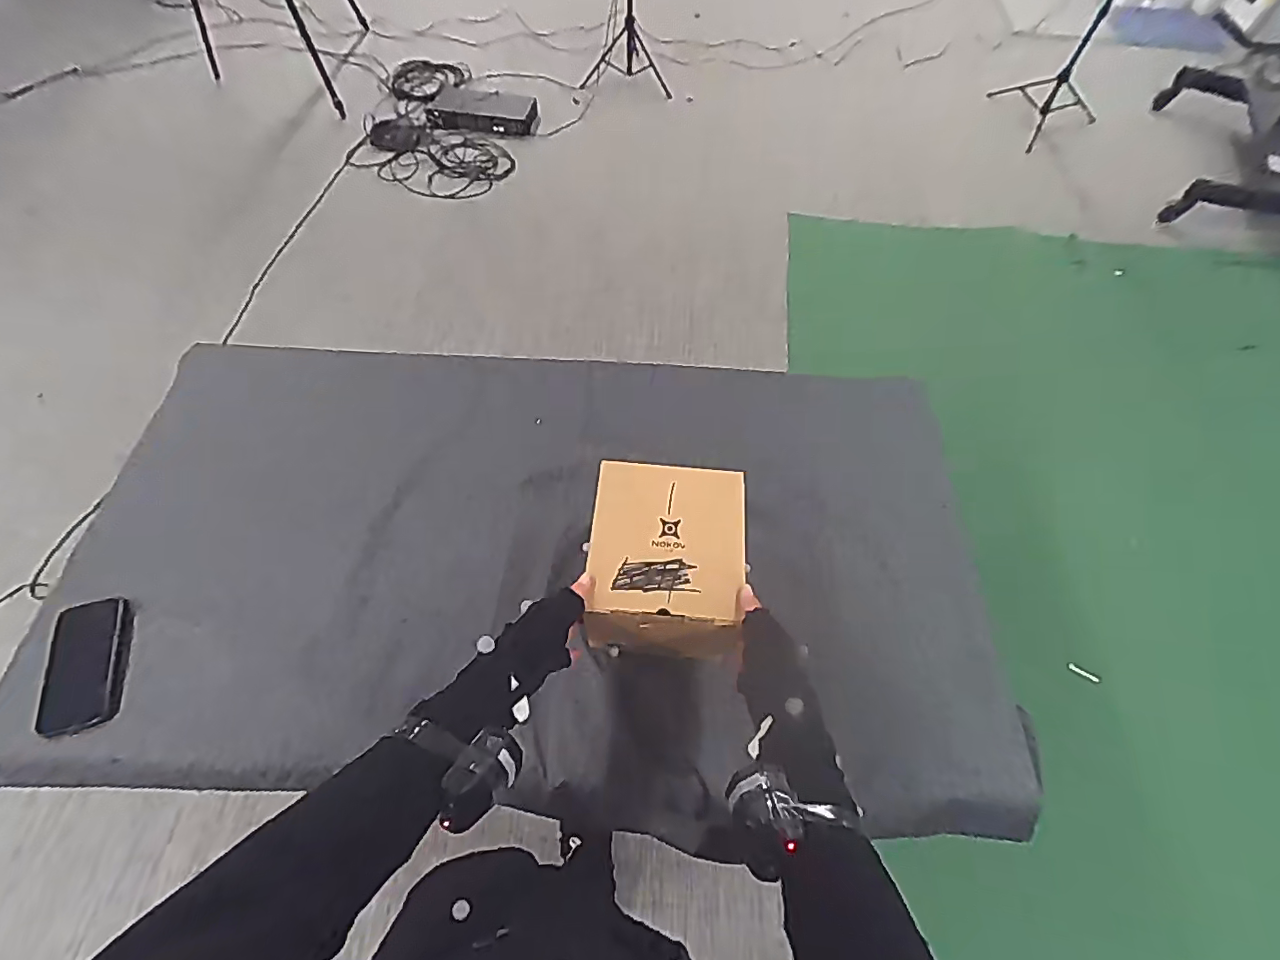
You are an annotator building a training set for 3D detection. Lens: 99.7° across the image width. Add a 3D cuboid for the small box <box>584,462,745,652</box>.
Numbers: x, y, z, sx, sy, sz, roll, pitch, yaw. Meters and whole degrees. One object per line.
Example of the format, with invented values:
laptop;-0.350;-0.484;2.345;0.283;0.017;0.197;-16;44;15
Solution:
small box;0.030;0.100;0.652;0.168;0.176;0.179;5;60;0
